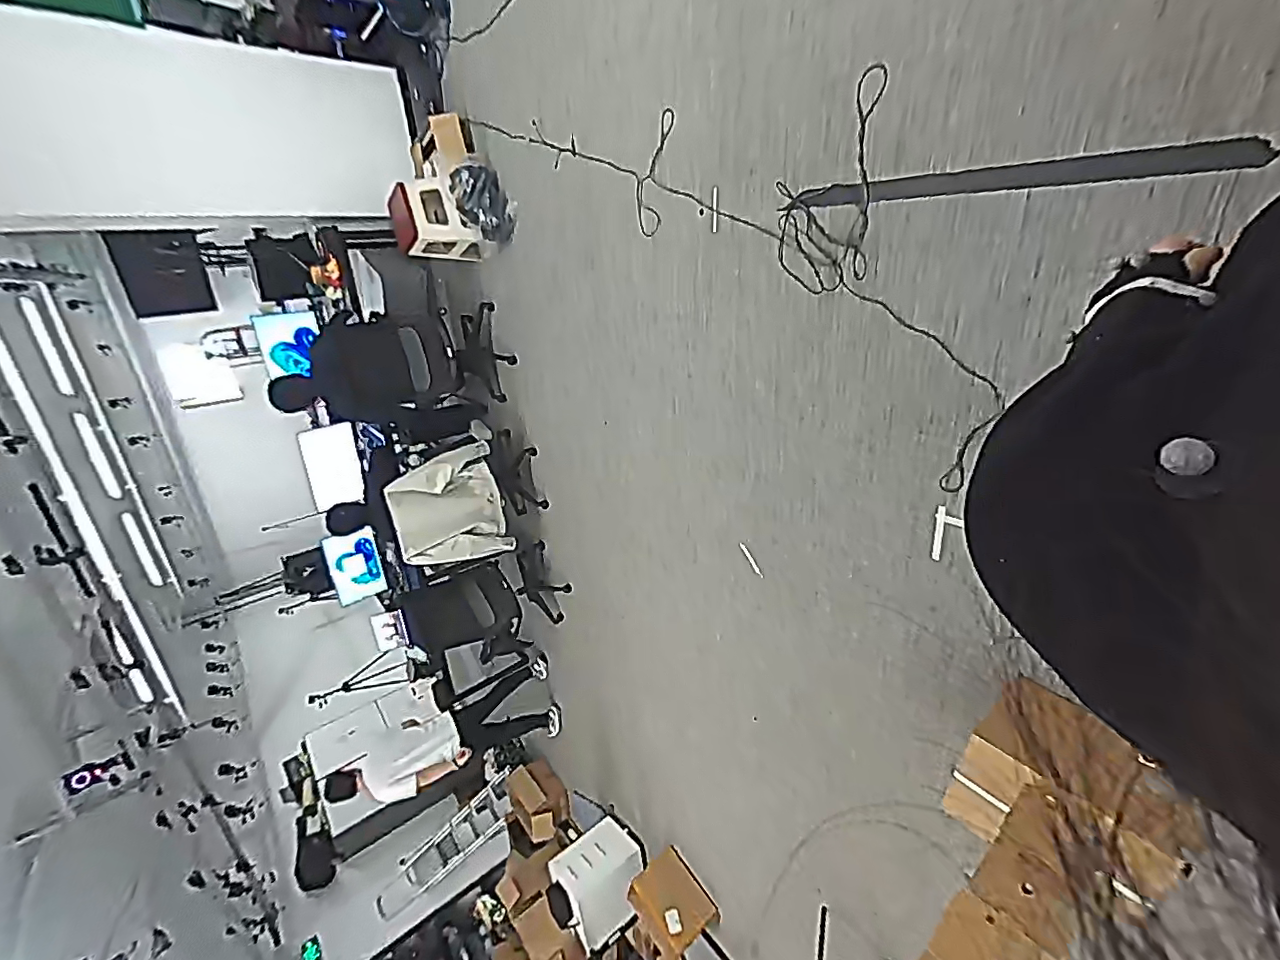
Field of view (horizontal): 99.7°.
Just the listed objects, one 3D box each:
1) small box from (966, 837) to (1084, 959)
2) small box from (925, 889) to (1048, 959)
[{"bbox_3d":[0.769,0.890,1.109,0.168,0.176,0.179,29,128,44],"label":"small box"},{"bbox_3d":[0.642,0.934,1.017,0.168,0.176,0.179,26,128,45],"label":"small box"}]
